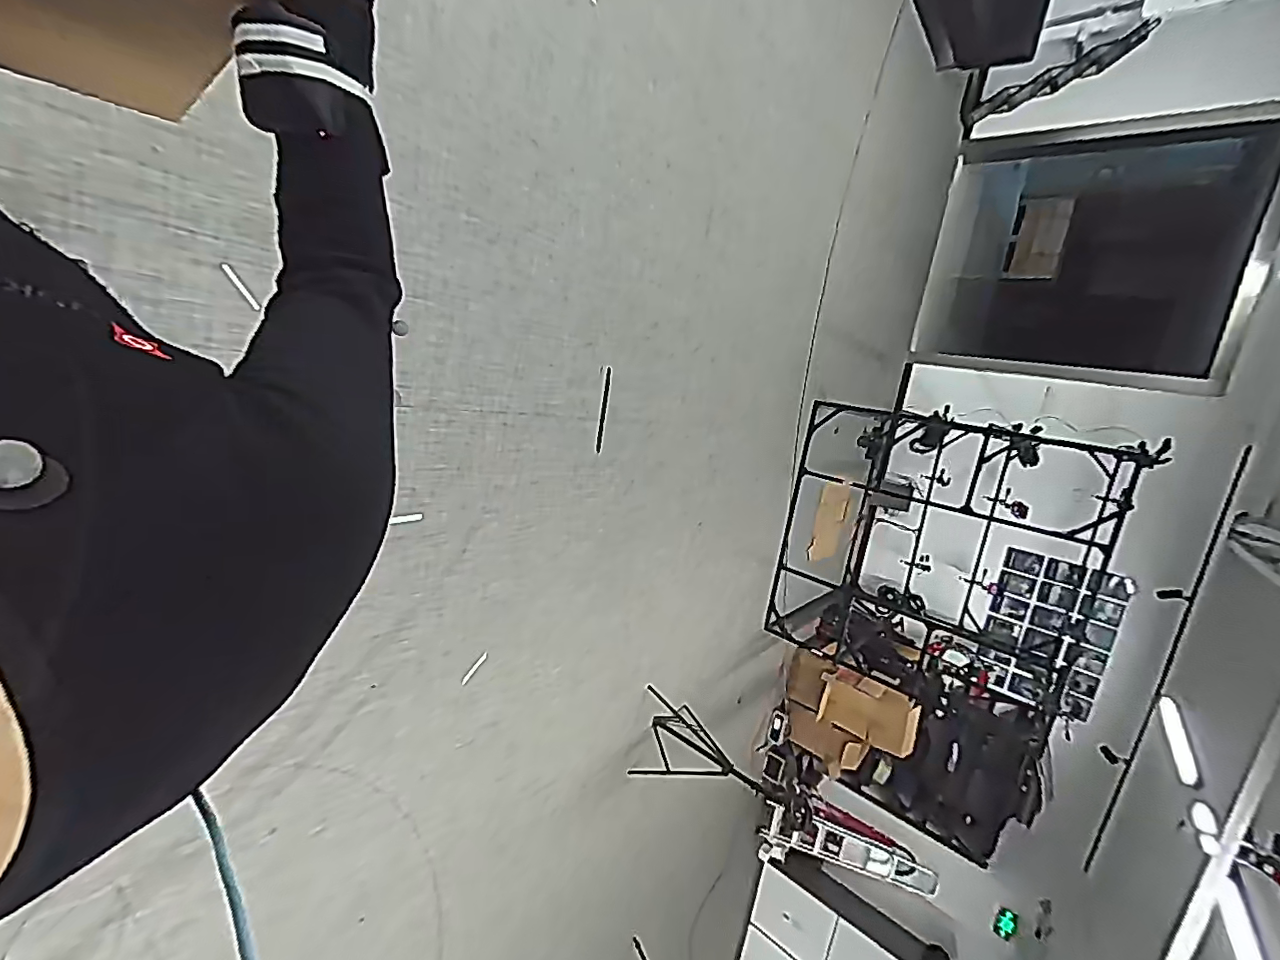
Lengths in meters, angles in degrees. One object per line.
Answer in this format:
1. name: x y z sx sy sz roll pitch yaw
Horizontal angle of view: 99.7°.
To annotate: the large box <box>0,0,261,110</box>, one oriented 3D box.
1. large box: -0.466 -0.465 0.264 0.408 0.320 0.320 -9 106 -50
